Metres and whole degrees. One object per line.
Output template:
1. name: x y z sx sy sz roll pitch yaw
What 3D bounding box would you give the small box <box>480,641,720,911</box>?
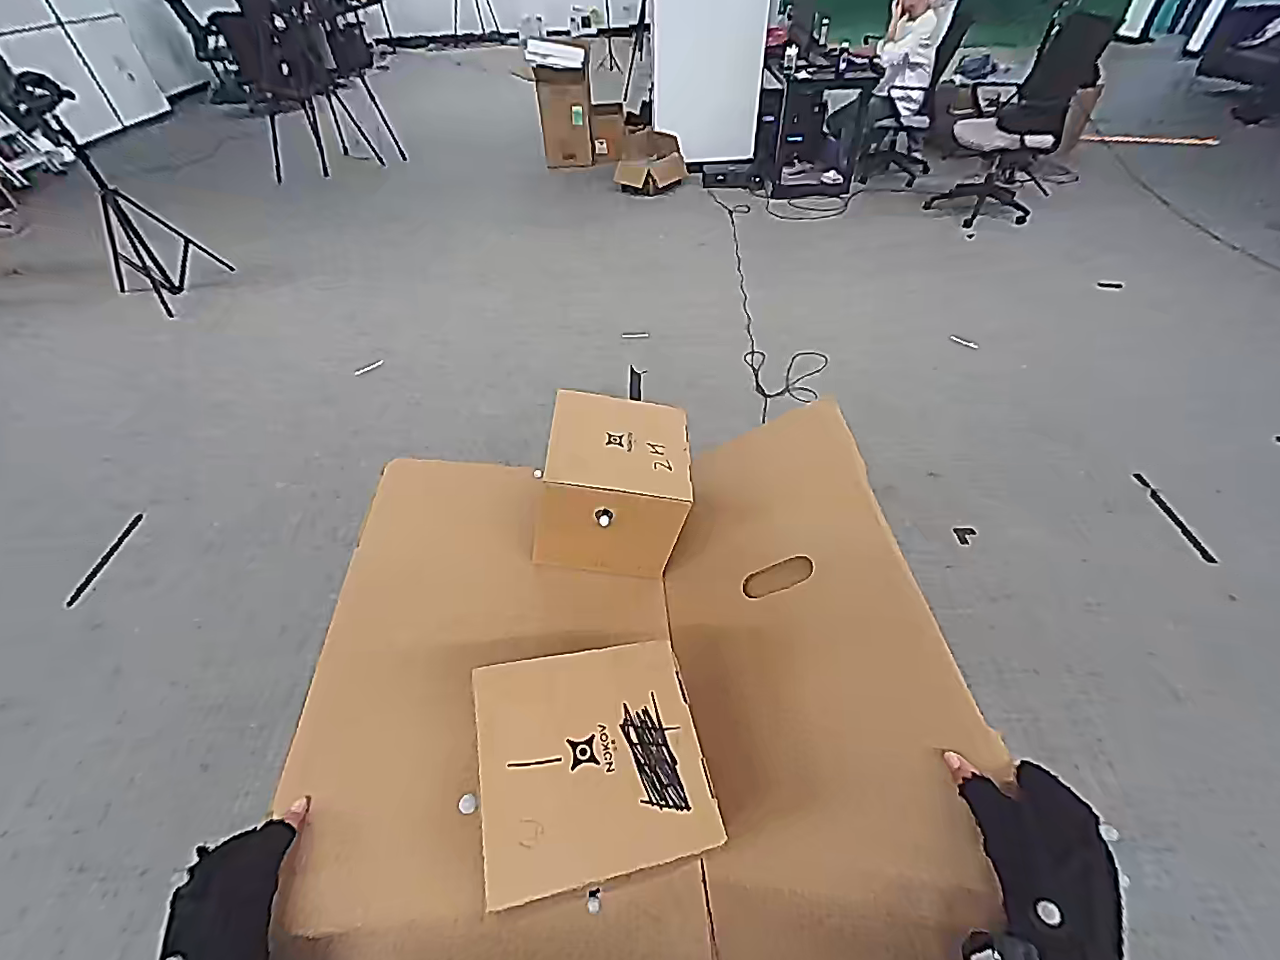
1. small box: -0.053 0.269 0.496 0.179 0.176 0.168 -3 49 -17

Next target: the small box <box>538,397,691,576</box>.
1. small box: -0.039 0.014 0.736 0.179 0.176 0.168 9 47 -8
